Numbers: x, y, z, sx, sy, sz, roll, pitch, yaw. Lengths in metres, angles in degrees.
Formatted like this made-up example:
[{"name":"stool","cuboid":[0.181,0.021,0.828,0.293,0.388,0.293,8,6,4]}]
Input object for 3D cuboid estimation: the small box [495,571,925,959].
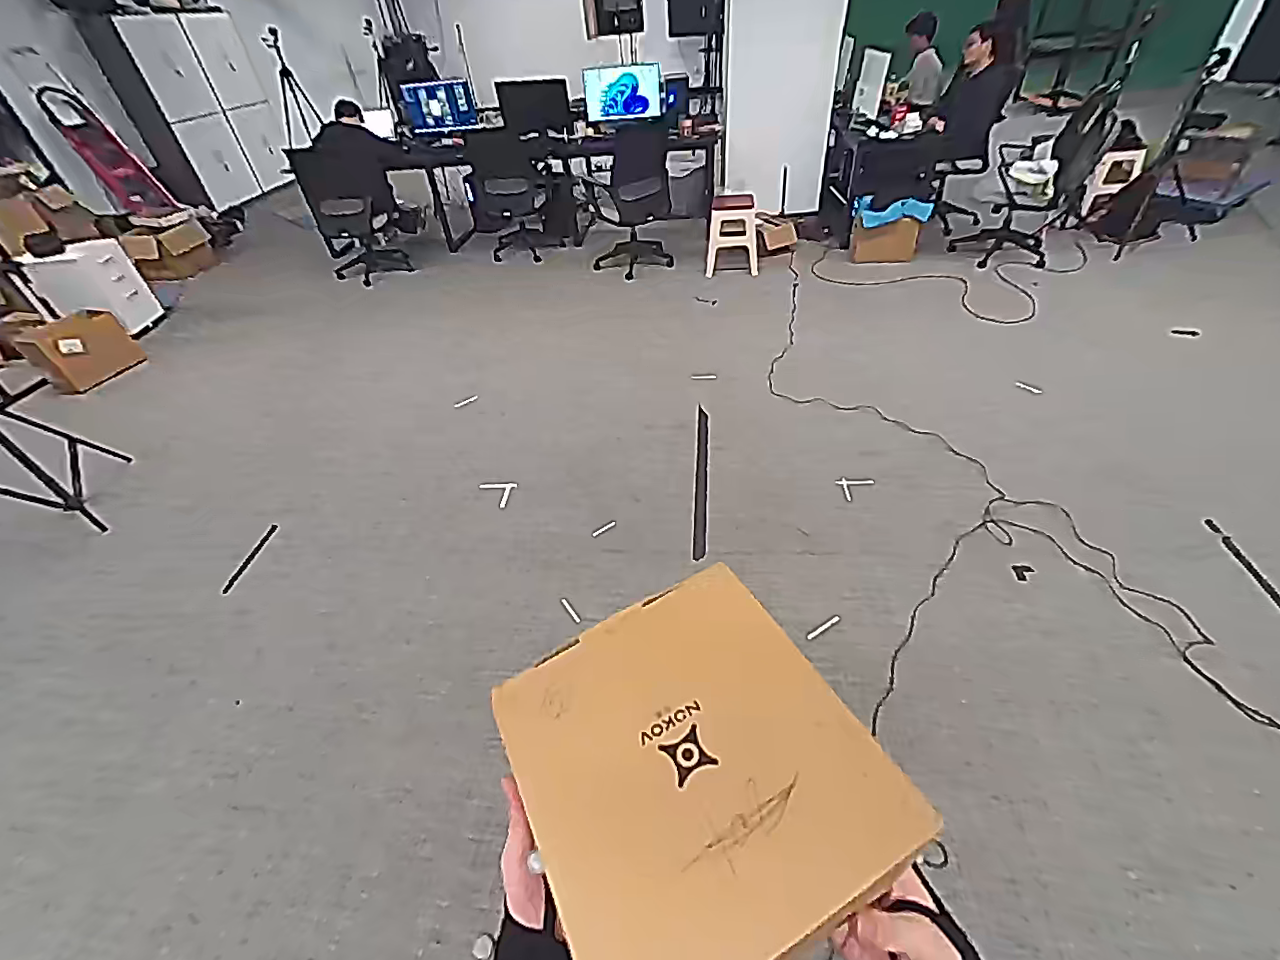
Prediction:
[{"name":"small box","cuboid":[0.035,0.199,0.342,0.168,0.176,0.179,-28,47,-14]}]
